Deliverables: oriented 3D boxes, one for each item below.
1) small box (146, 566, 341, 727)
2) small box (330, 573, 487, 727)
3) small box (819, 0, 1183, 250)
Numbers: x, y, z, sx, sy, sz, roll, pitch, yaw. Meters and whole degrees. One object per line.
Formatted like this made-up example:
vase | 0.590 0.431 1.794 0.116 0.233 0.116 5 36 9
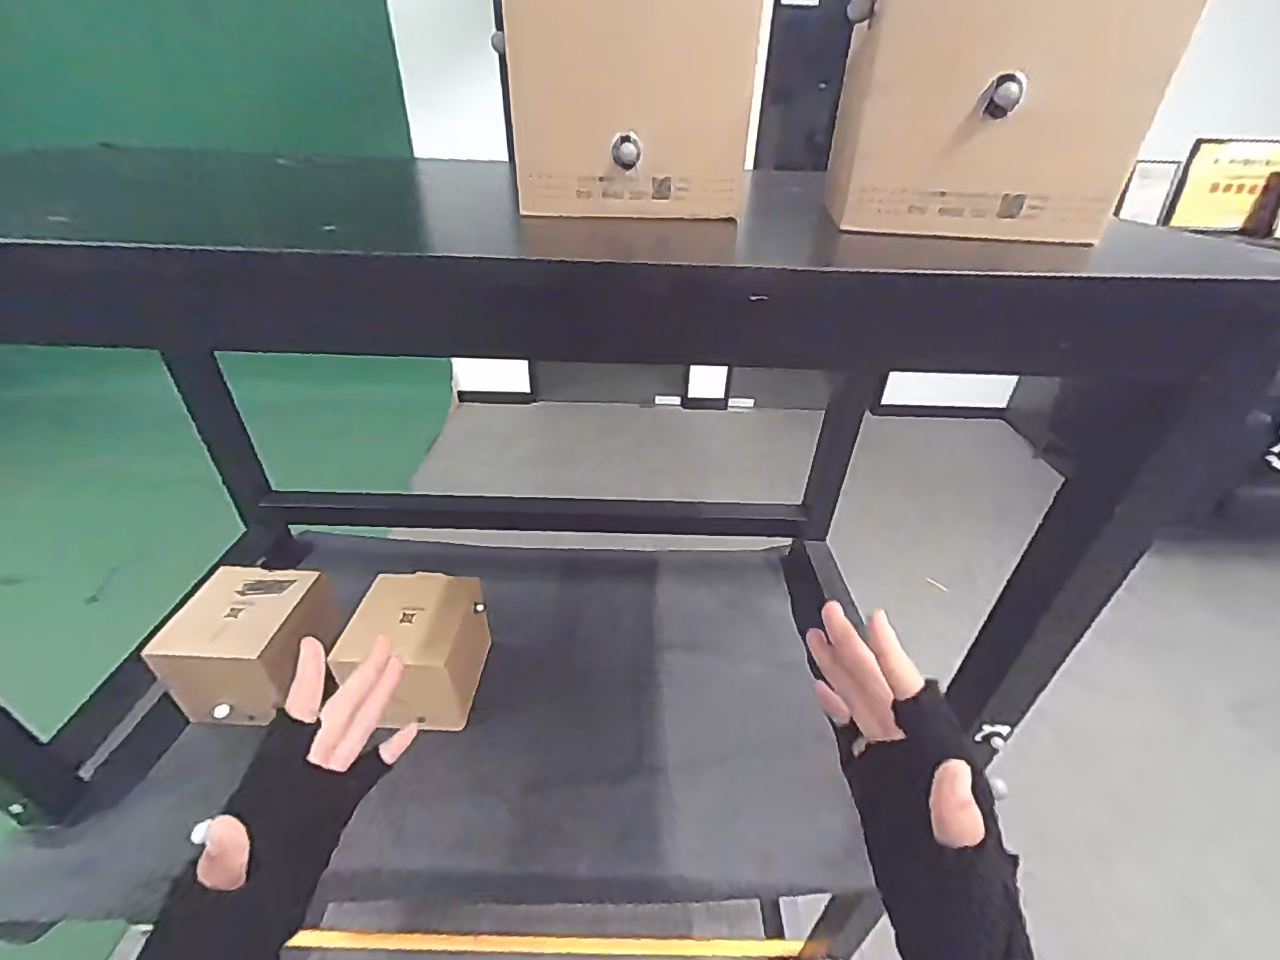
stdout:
small box | -0.605 0.261 0.860 0.168 0.176 0.179 2 35 0
small box | -0.352 0.271 0.865 0.168 0.176 0.179 2 34 0
small box | 0.236 -0.275 0.396 0.168 0.176 0.179 8 35 8
